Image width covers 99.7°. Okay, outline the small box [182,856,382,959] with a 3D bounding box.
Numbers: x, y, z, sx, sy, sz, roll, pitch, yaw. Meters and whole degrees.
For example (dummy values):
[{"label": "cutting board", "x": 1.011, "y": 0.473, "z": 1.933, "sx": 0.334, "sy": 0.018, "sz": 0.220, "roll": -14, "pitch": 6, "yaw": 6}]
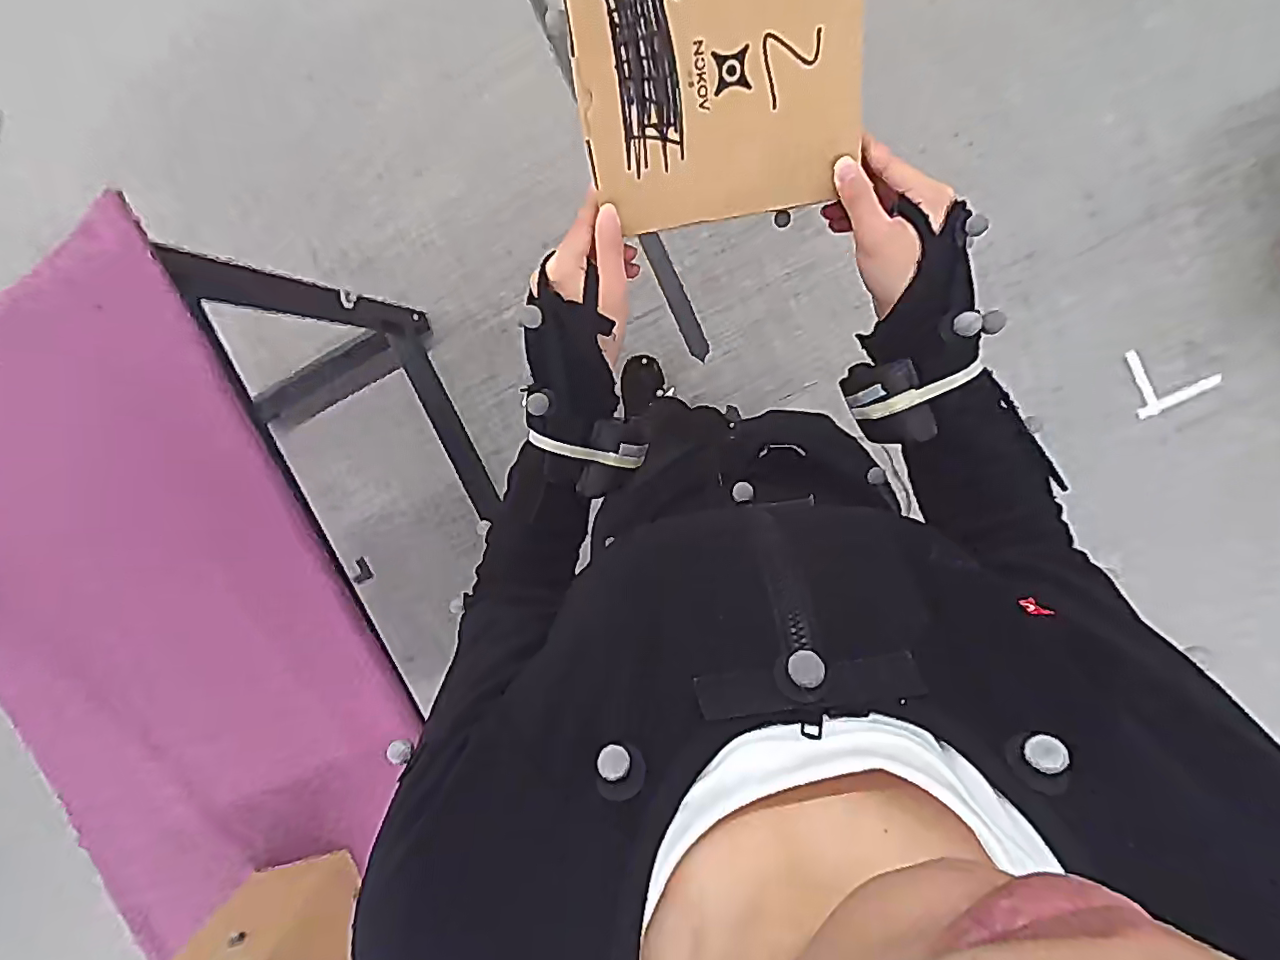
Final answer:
[{"label": "small box", "x": -0.485, "y": 0.656, "z": 0.736, "sx": 0.179, "sy": 0.176, "sz": 0.168, "roll": -20, "pitch": 95, "yaw": 10}]
